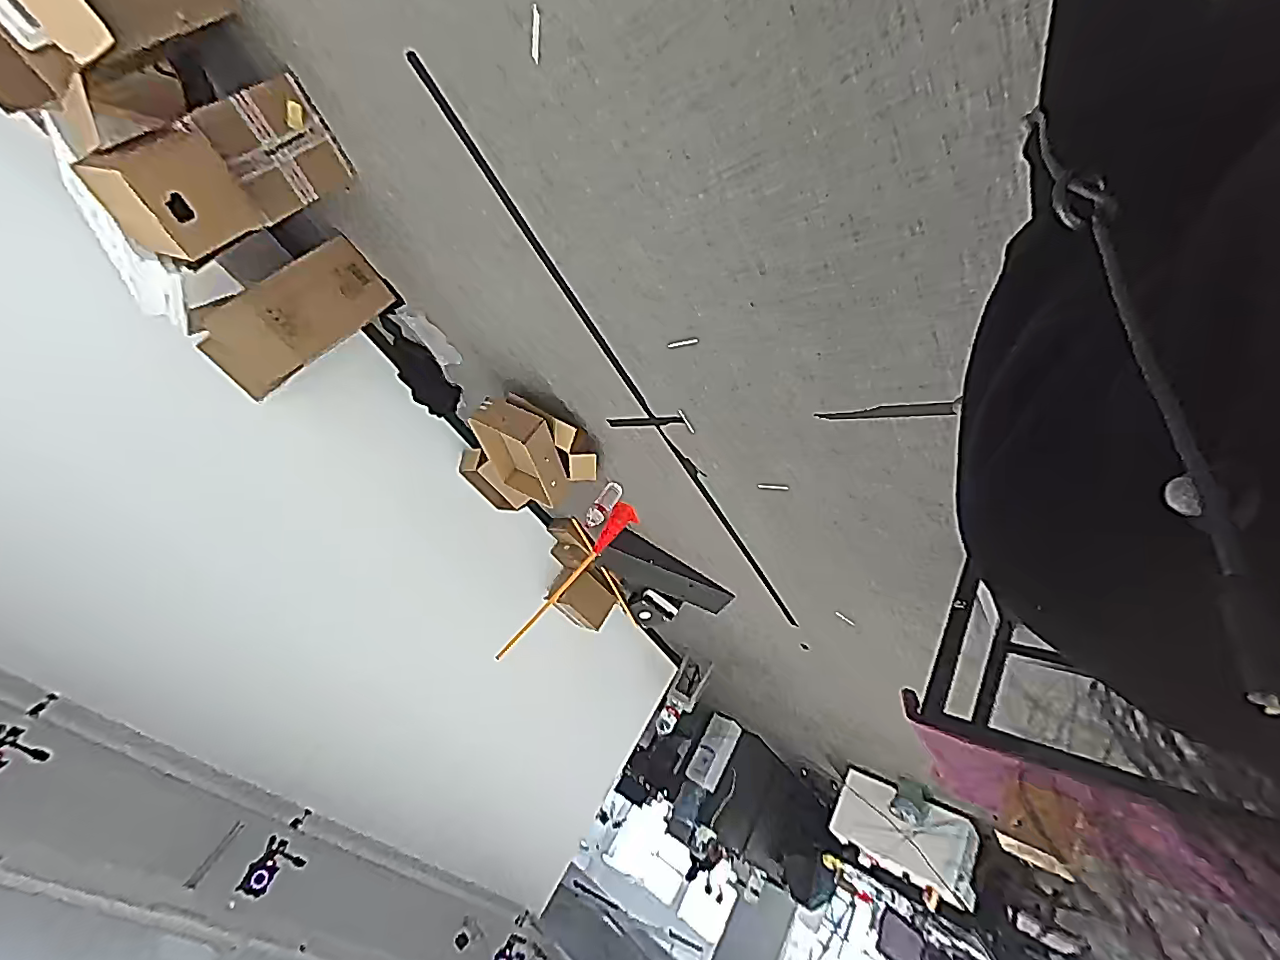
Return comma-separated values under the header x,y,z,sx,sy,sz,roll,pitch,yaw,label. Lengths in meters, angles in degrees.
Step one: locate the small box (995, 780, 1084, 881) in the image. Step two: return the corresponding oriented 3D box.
x,y,z,sx,sy,sz,roll,pitch,yaw,label
1.149,0.994,1.551,0.179,0.176,0.168,4,141,45,small box
